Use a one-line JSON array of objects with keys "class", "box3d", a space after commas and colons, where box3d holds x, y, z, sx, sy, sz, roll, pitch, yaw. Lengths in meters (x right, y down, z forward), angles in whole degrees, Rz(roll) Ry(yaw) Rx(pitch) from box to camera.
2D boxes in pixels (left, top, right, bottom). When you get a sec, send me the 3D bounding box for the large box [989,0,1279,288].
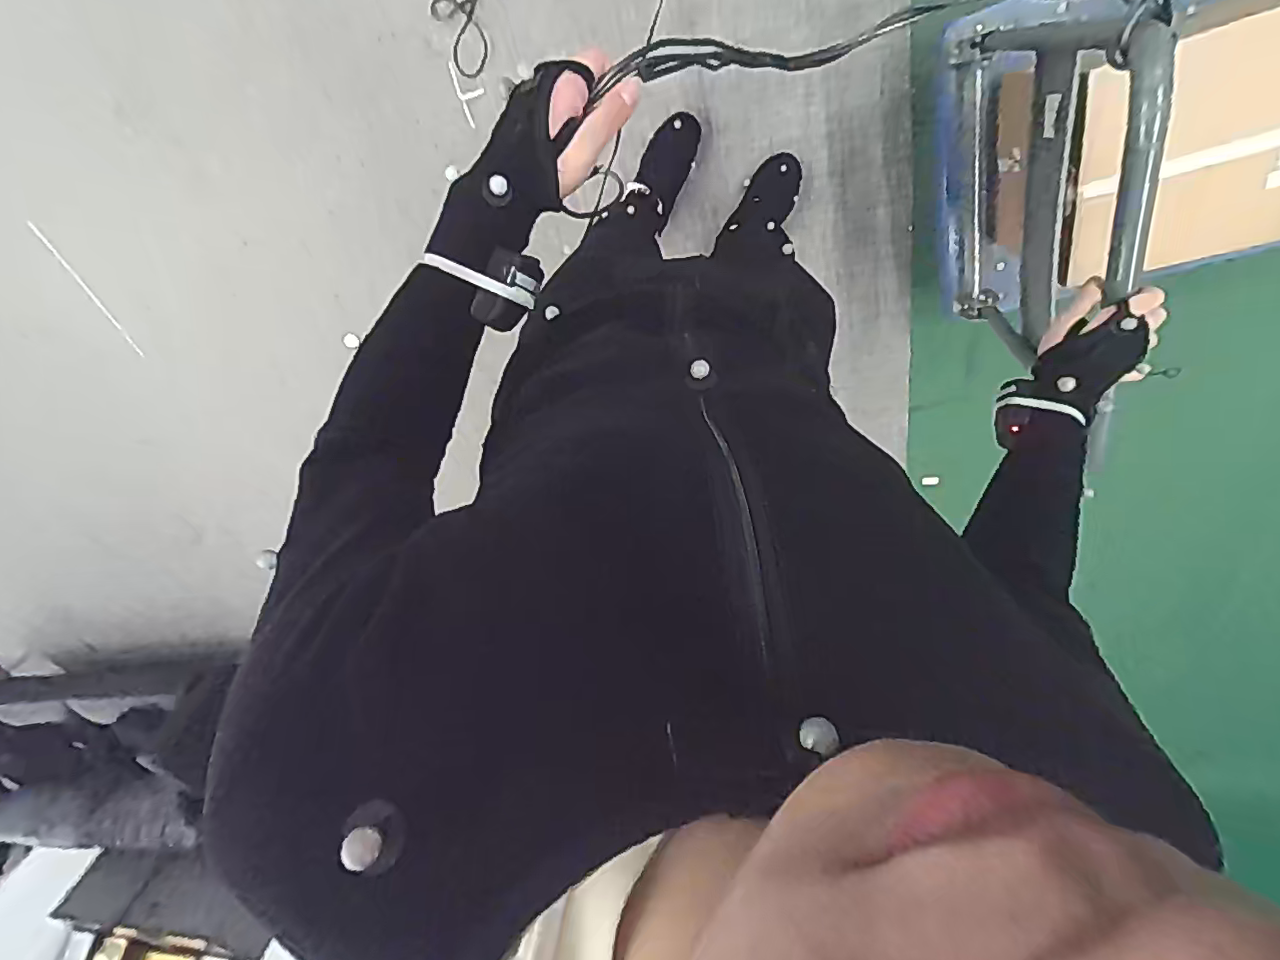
[{"class": "large box", "box3d": [0.861, -0.565, 0.901, 0.408, 0.320, 0.320, -10, 124, 16]}]
